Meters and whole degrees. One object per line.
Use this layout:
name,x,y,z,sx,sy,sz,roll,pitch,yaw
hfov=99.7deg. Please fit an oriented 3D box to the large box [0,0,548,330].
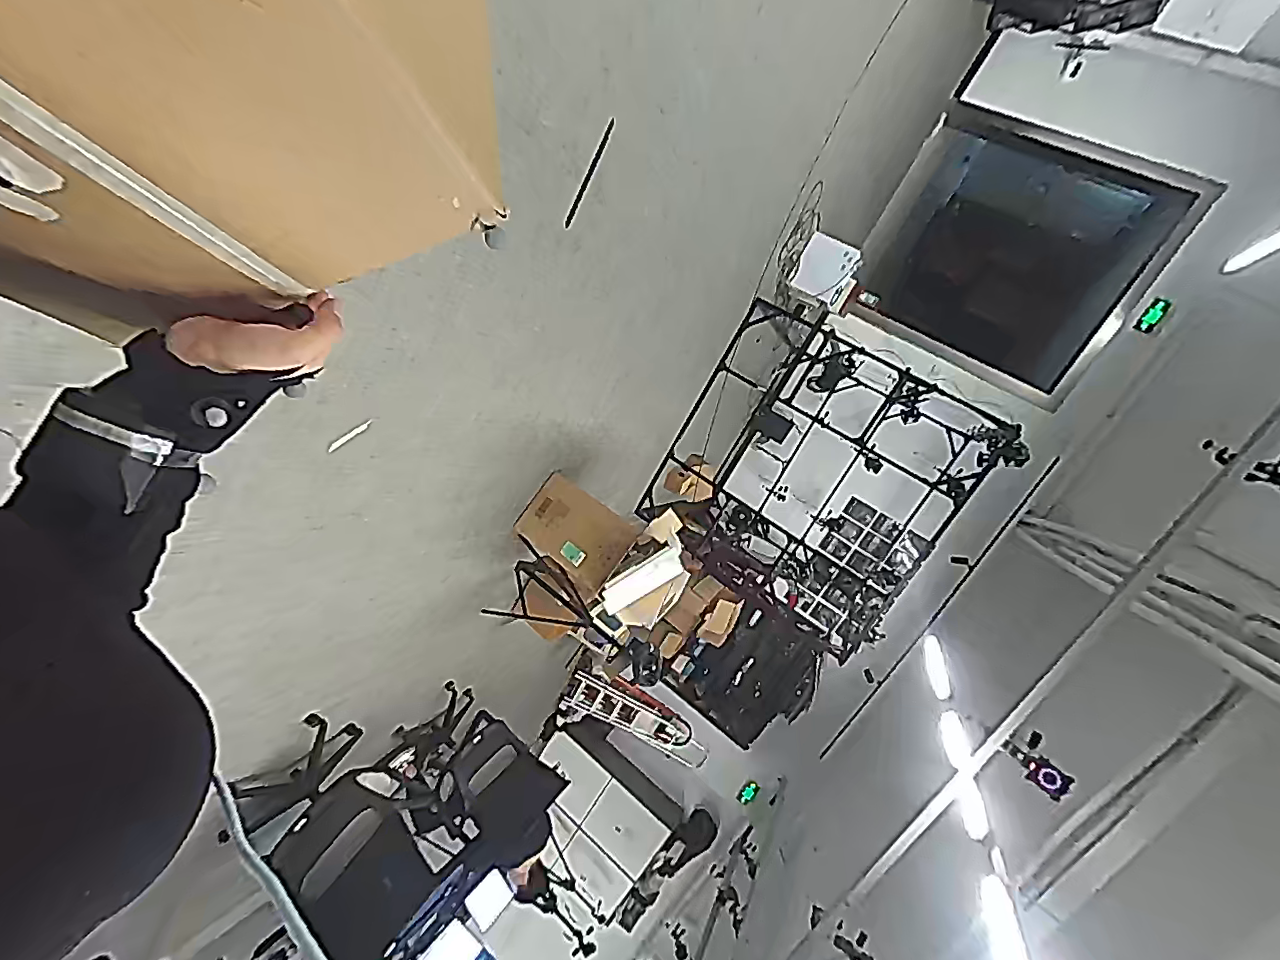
large box,-0.280,-0.335,0.231,0.408,0.320,0.320,42,38,-68
